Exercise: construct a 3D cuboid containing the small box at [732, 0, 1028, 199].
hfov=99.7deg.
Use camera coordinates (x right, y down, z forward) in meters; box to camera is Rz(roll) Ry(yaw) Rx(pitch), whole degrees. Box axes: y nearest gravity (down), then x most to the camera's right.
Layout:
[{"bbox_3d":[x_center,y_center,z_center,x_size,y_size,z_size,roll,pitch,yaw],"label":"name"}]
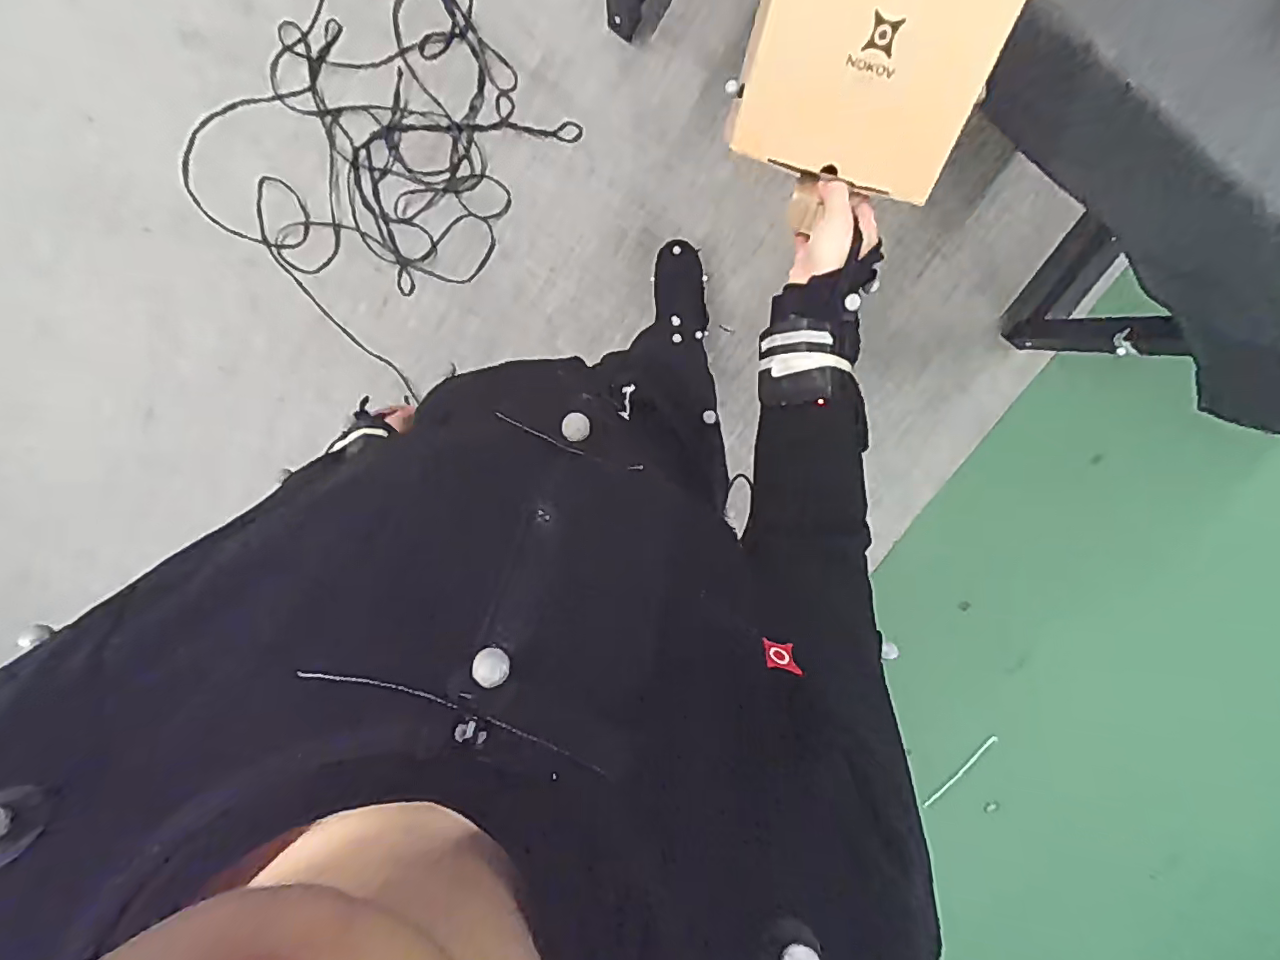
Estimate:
[{"bbox_3d":[0.177,-0.355,0.439,0.168,0.176,0.179,13,127,-3],"label":"small box"}]
